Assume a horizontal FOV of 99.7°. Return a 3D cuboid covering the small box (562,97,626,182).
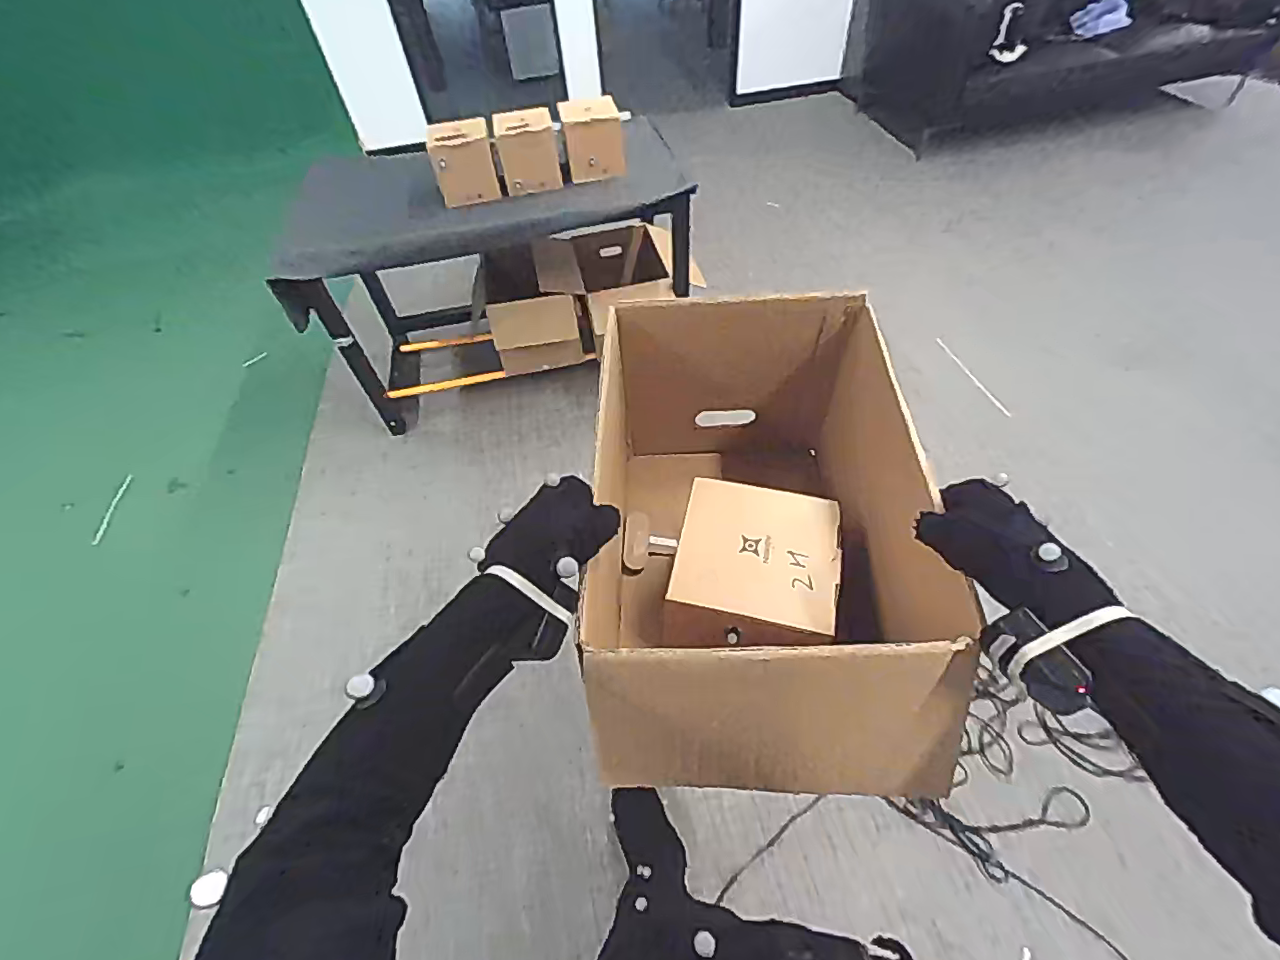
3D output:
[{"bbox_3d":[-0.139,-1.036,1.647,0.168,0.176,0.179,-11,52,-4],"label":"small box"}]
